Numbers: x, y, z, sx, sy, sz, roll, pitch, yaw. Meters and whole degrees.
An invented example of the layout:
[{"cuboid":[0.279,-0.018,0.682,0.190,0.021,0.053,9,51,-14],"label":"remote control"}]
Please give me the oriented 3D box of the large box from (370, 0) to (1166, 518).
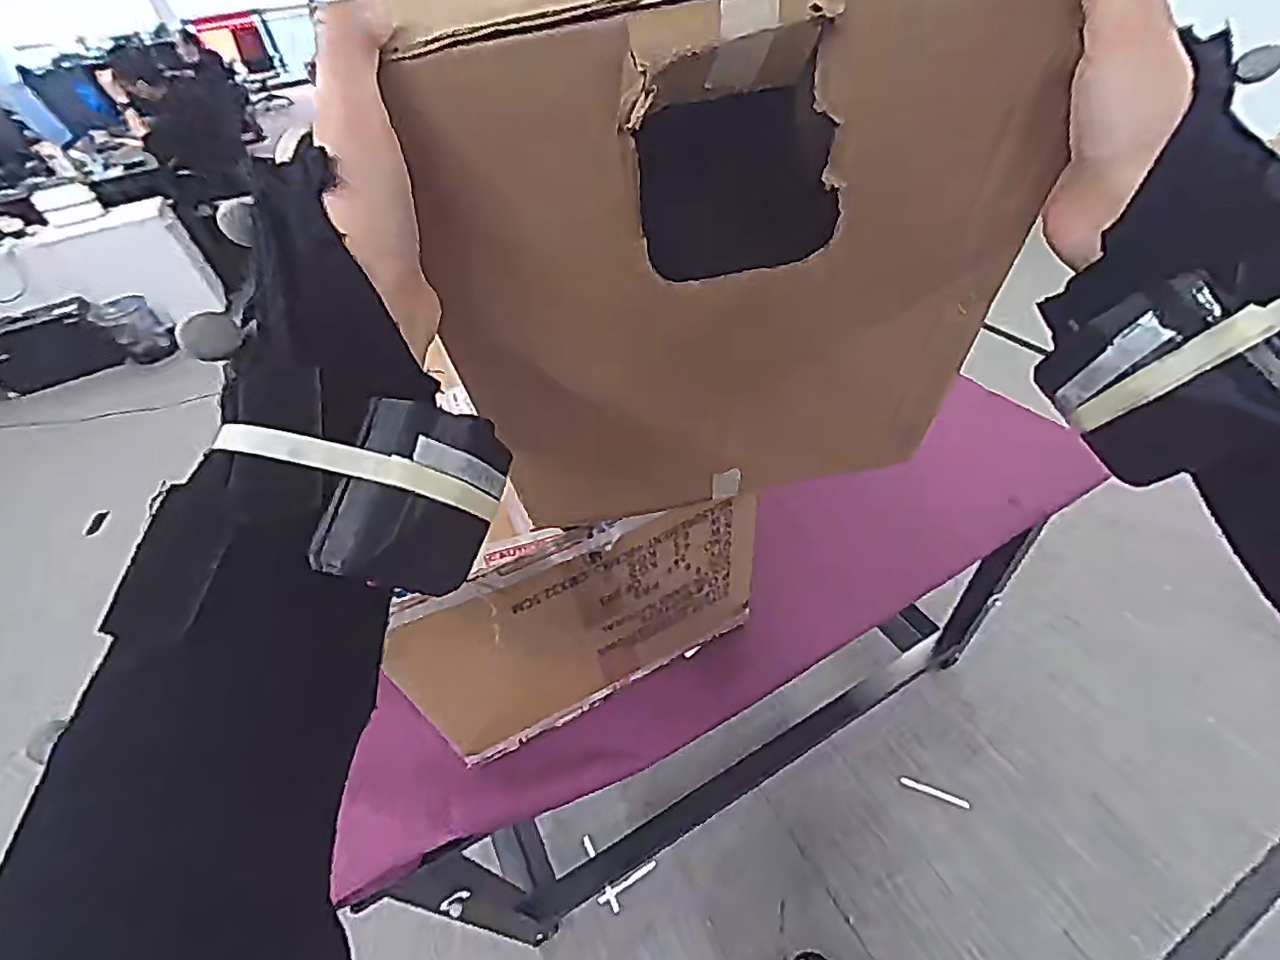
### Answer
[{"cuboid":[0.034,-0.236,0.426,0.320,0.320,0.408,-11,54,0],"label":"large box"}]
